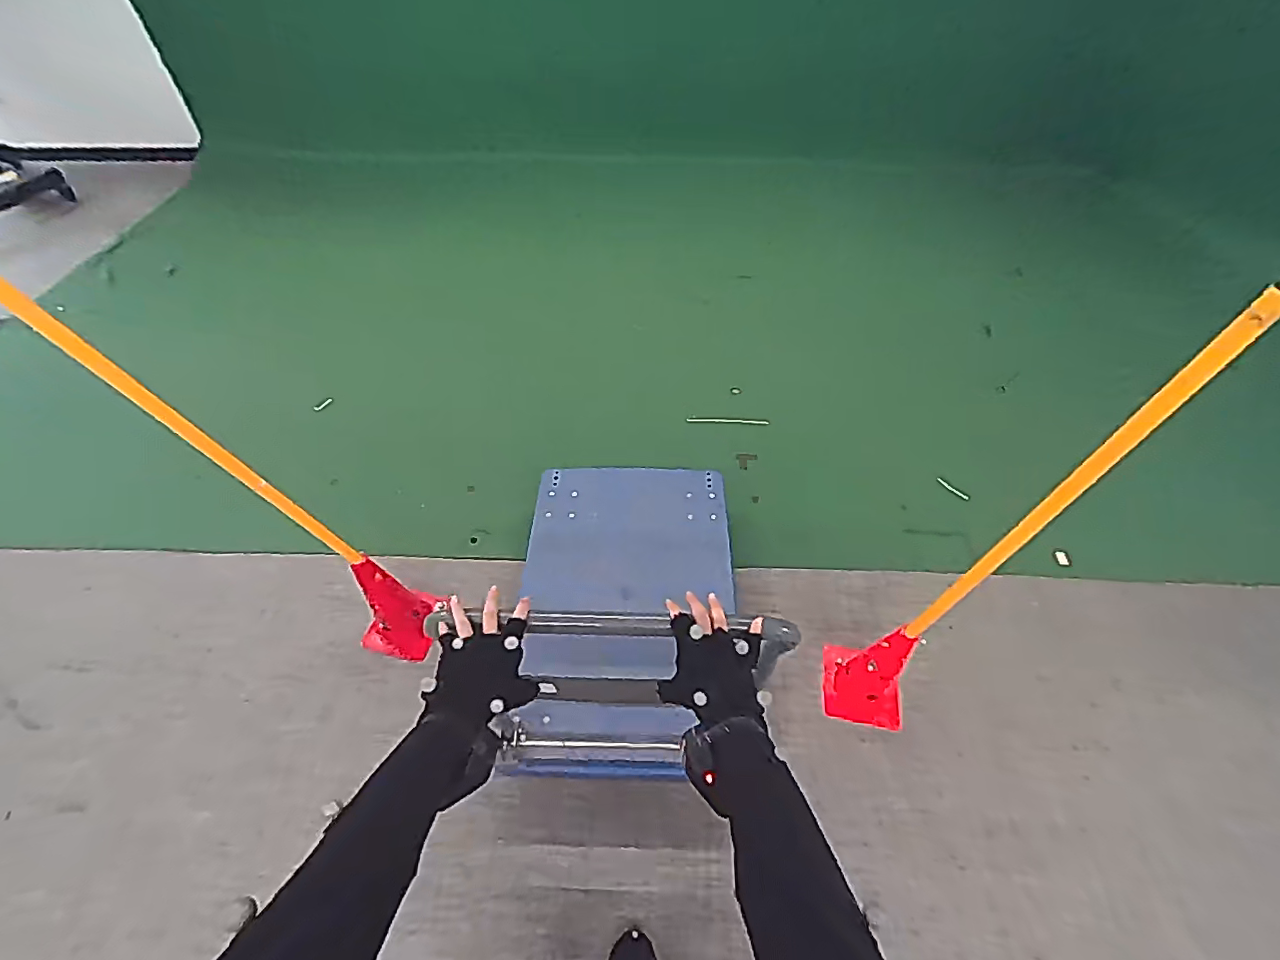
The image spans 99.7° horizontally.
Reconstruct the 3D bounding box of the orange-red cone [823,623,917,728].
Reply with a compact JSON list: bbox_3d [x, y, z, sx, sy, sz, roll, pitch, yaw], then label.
[{"bbox_3d":[0.596,0.444,1.326,0.198,0.360,0.199,10,52,9],"label":"orange-red cone"}]
